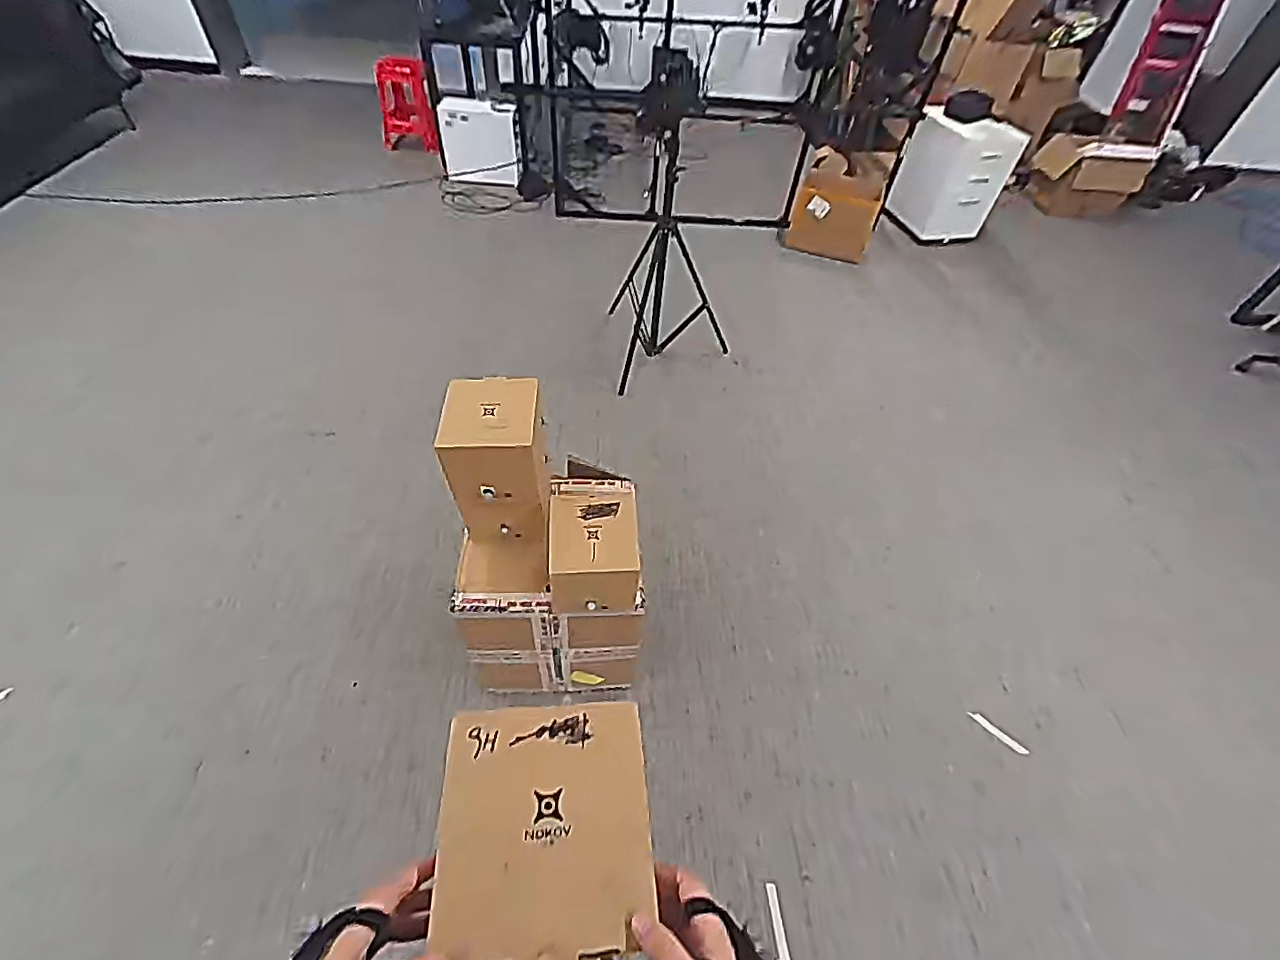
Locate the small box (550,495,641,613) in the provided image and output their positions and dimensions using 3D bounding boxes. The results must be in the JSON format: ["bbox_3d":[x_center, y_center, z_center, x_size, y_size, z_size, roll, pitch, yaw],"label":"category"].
[{"bbox_3d":[-0.091,0.148,1.076,0.168,0.176,0.179,-1,52,-6],"label":"small box"}]

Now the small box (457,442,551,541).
[{"bbox_3d":[-0.283,0.015,1.168,0.168,0.176,0.179,-1,52,-4],"label":"small box"}]

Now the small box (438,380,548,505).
[{"bbox_3d":[-0.268,-0.070,1.028,0.168,0.176,0.179,-2,53,-4],"label":"small box"}]
